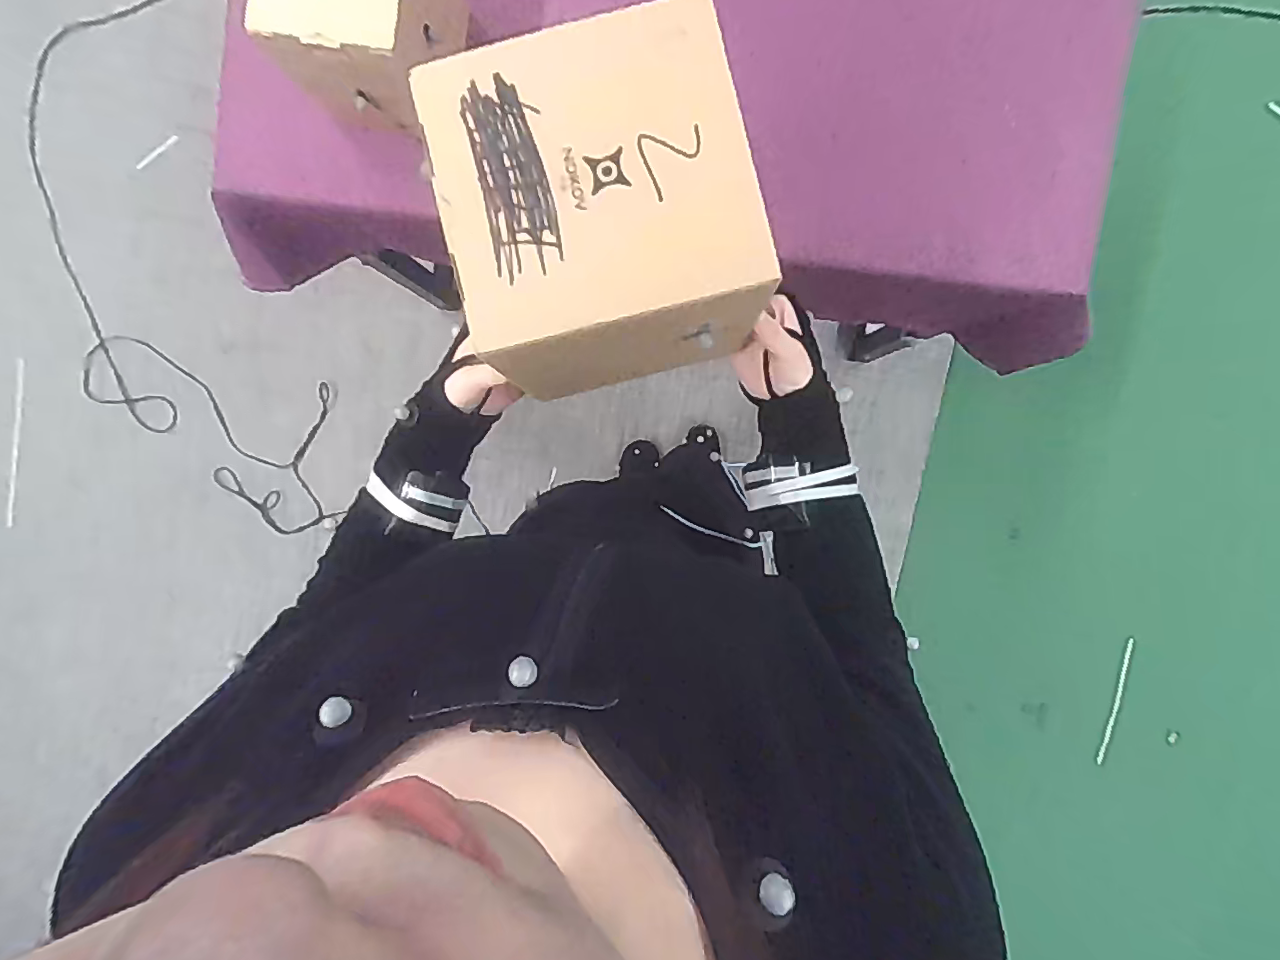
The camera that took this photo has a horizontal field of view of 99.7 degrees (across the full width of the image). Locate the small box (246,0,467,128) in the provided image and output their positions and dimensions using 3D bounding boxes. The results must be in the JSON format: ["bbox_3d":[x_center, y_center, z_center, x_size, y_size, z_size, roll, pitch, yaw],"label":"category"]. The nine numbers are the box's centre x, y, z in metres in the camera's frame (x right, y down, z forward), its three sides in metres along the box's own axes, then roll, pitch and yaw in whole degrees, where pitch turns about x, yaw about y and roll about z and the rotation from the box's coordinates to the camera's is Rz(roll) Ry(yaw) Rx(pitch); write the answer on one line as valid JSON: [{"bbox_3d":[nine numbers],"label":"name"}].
[{"bbox_3d":[-0.321,-0.561,0.644,0.168,0.176,0.179,11,95,-1],"label":"small box"}]
